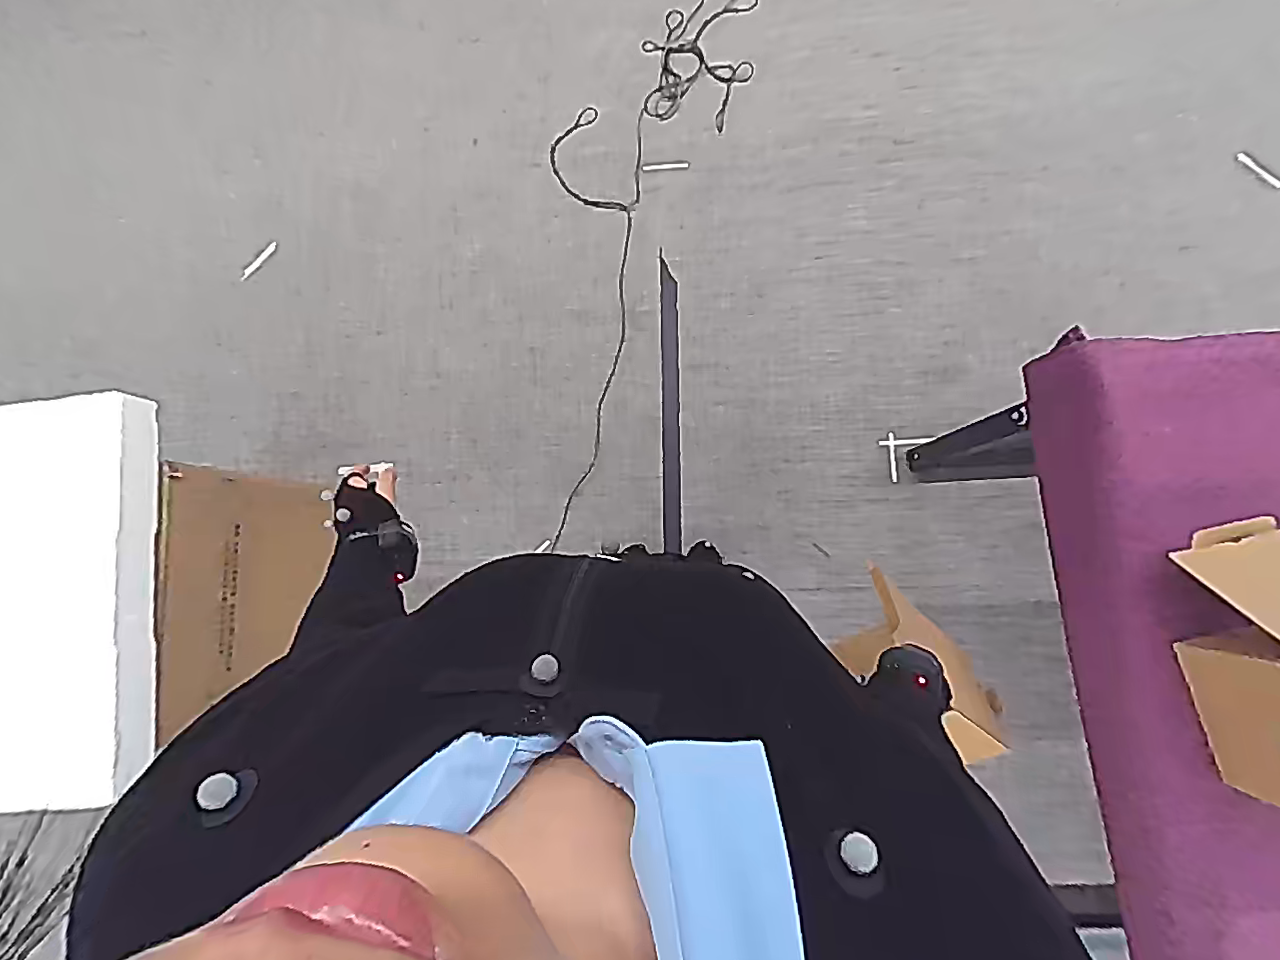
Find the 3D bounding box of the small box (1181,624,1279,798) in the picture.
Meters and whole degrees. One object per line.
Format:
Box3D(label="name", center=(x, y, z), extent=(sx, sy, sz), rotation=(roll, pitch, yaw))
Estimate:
Box3D(label="small box", center=(0.772, 0.259, 0.597), extent=(0.168, 0.176, 0.179), rotation=(-13, 81, 3))
